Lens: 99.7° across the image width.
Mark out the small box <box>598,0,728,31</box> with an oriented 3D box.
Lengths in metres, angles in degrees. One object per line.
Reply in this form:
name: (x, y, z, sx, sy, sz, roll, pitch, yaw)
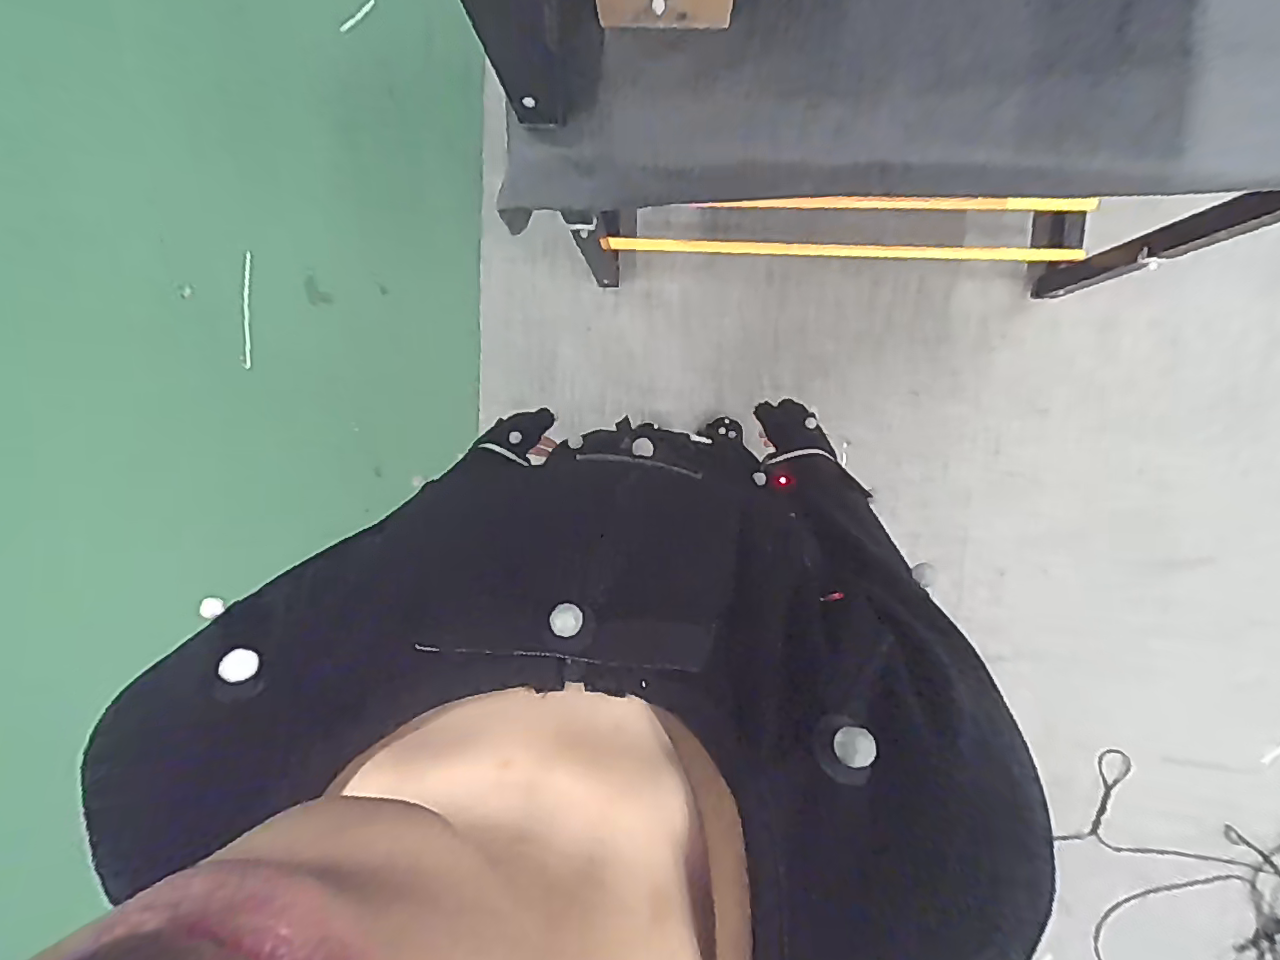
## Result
small box: (0.028, -0.658, 0.605, 0.168, 0.176, 0.179, 2, 95, 2)
